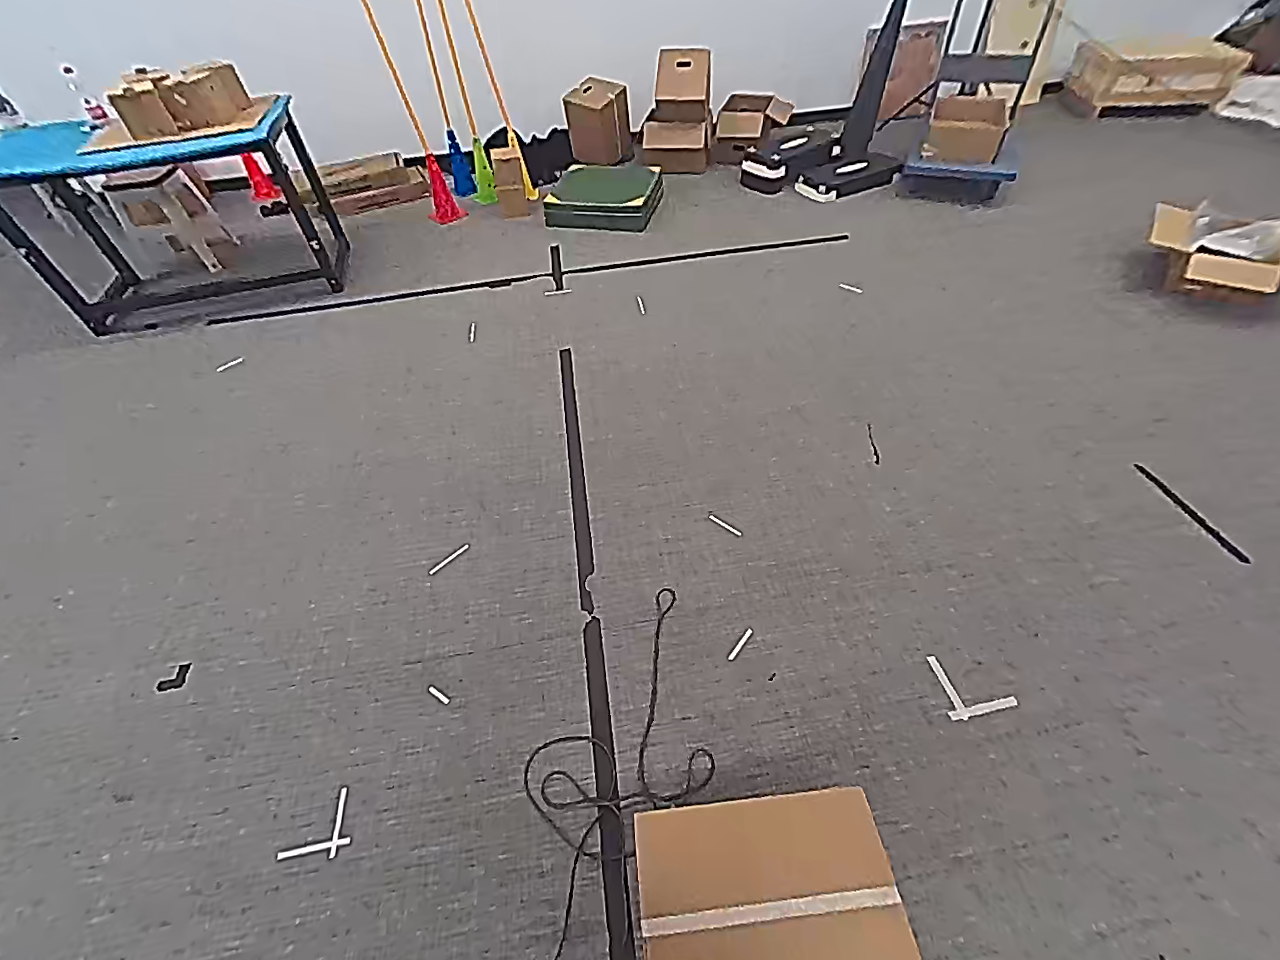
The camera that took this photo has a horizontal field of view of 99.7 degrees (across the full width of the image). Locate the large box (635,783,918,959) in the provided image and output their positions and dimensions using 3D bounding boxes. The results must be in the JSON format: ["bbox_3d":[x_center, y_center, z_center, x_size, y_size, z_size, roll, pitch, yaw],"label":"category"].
[{"bbox_3d":[0.211,0.769,0.952,0.408,0.320,0.320,-6,48,-1],"label":"large box"}]
